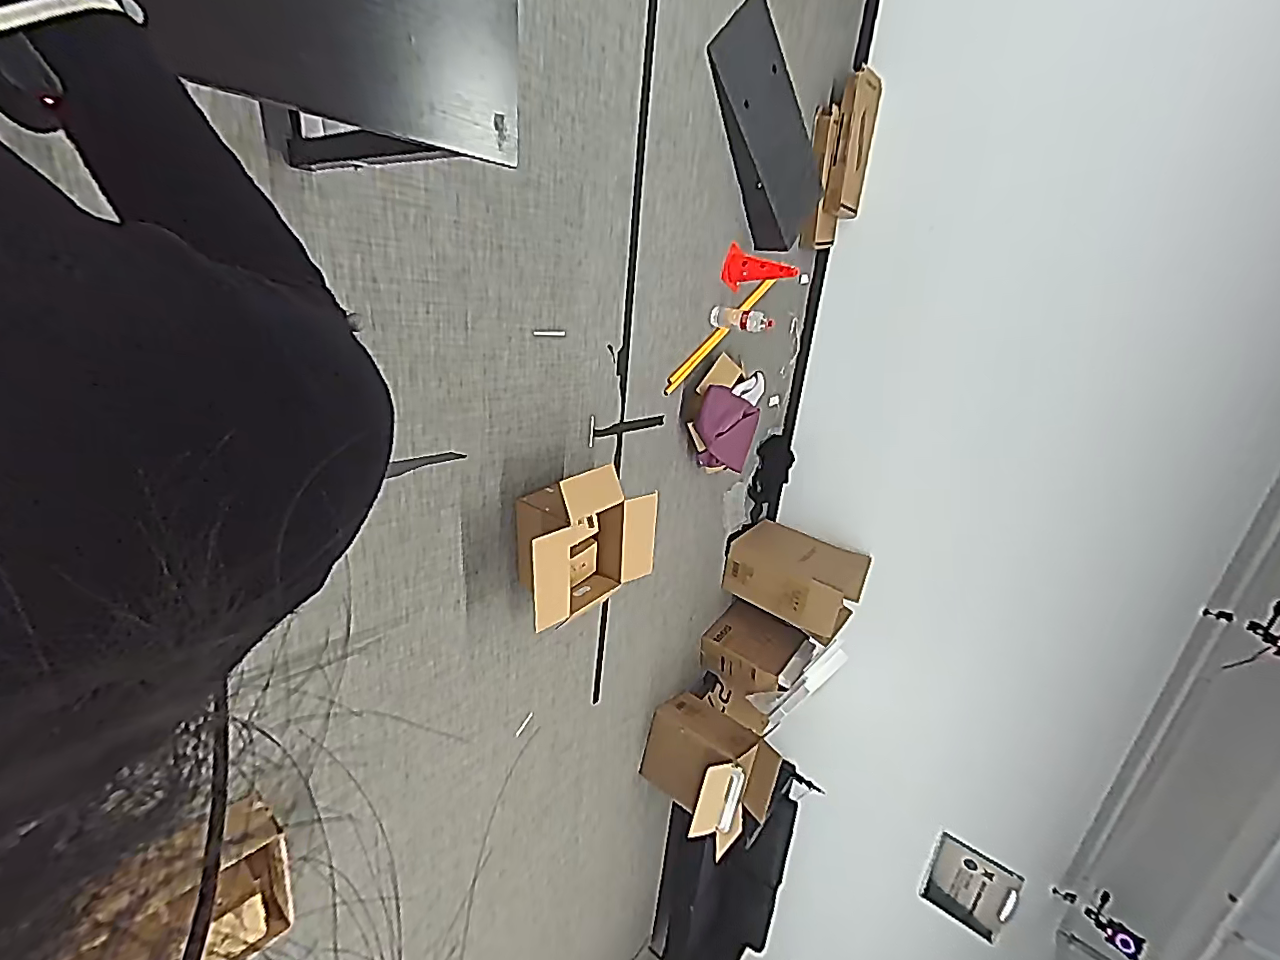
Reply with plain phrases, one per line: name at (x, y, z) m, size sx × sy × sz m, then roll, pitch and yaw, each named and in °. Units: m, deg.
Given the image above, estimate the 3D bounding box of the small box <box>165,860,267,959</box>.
small box at (-1.160, 1.201, 1.480) m, size 0.179 × 0.176 × 0.168 m, roll -15°, pitch 116°, yaw -49°
